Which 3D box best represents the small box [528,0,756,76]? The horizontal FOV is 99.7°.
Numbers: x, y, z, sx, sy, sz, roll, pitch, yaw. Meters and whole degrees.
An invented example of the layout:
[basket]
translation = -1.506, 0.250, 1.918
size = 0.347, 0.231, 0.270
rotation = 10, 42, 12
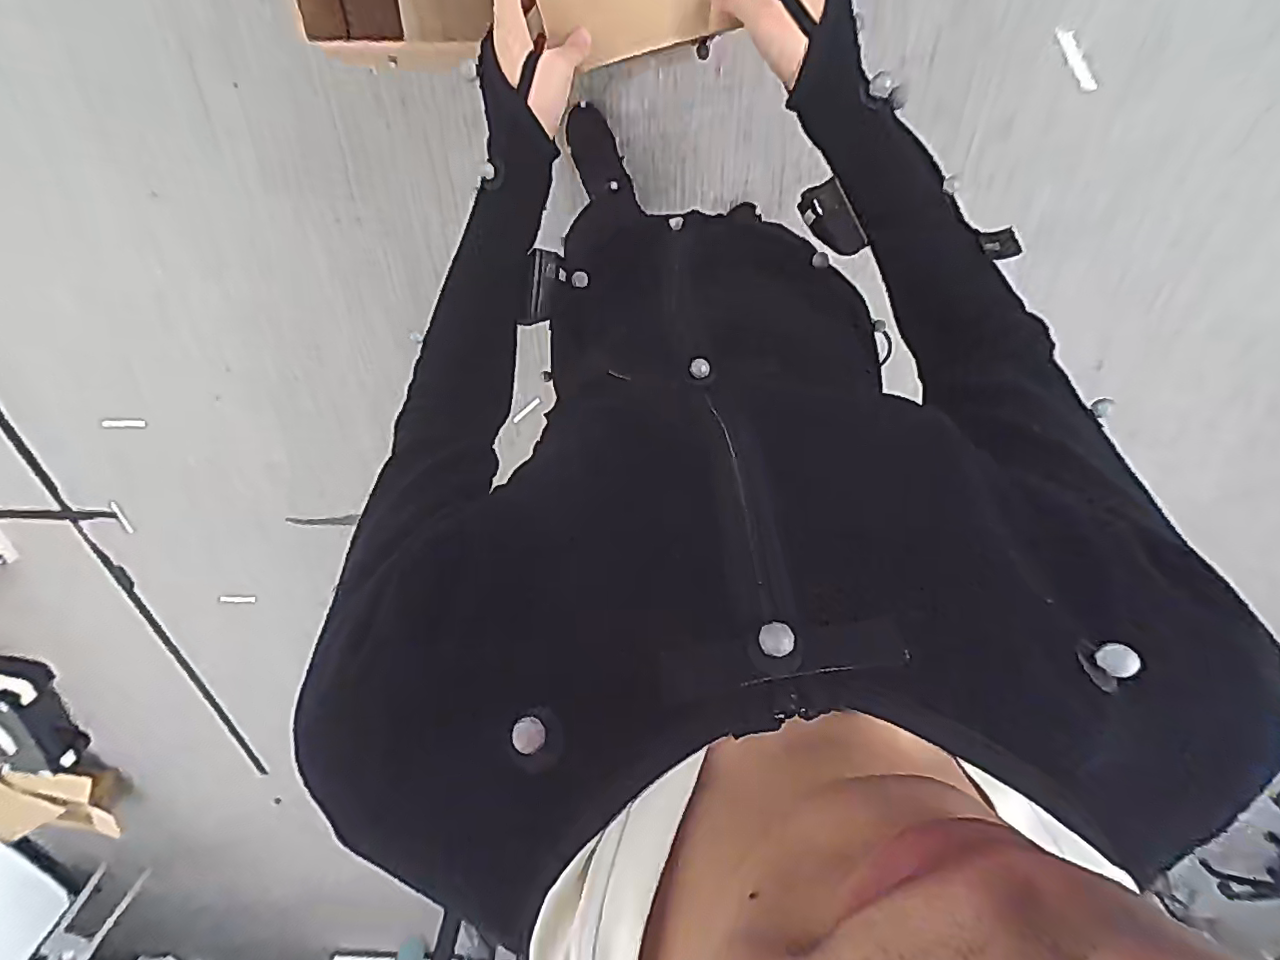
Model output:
[small box]
translation = -0.013, -0.462, 0.453
size = 0.179, 0.176, 0.168
rotation = -12, 125, 7
